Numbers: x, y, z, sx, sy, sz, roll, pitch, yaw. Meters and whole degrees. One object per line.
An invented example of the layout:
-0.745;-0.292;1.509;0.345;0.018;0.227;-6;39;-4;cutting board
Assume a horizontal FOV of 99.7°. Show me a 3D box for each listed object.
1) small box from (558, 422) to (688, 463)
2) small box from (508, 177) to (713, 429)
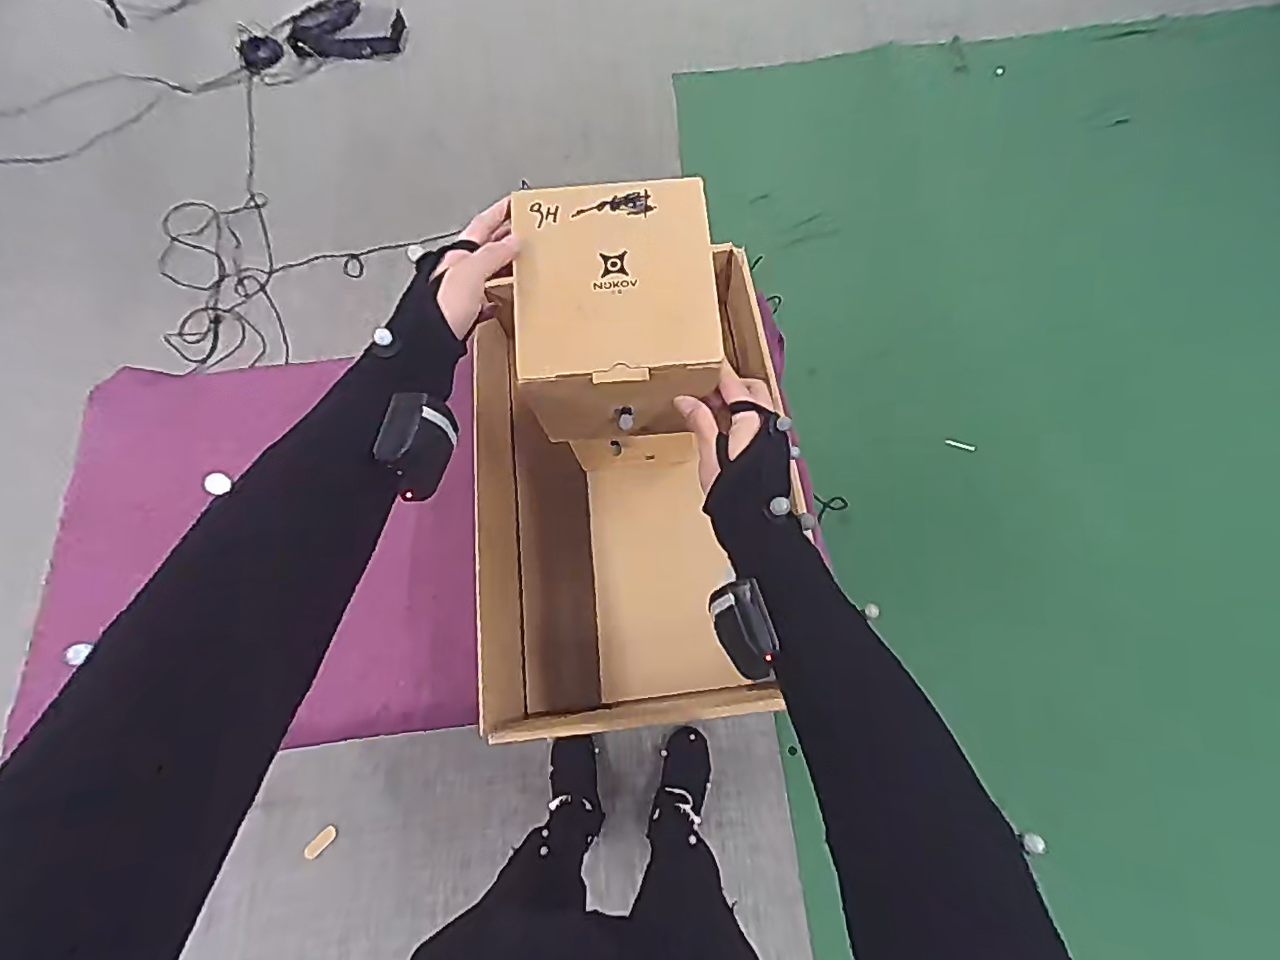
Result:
-0.021;-0.131;0.766;0.168;0.176;0.179;-6;71;3;small box
-0.025;-0.152;0.522;0.168;0.176;0.179;-4;79;0;small box
